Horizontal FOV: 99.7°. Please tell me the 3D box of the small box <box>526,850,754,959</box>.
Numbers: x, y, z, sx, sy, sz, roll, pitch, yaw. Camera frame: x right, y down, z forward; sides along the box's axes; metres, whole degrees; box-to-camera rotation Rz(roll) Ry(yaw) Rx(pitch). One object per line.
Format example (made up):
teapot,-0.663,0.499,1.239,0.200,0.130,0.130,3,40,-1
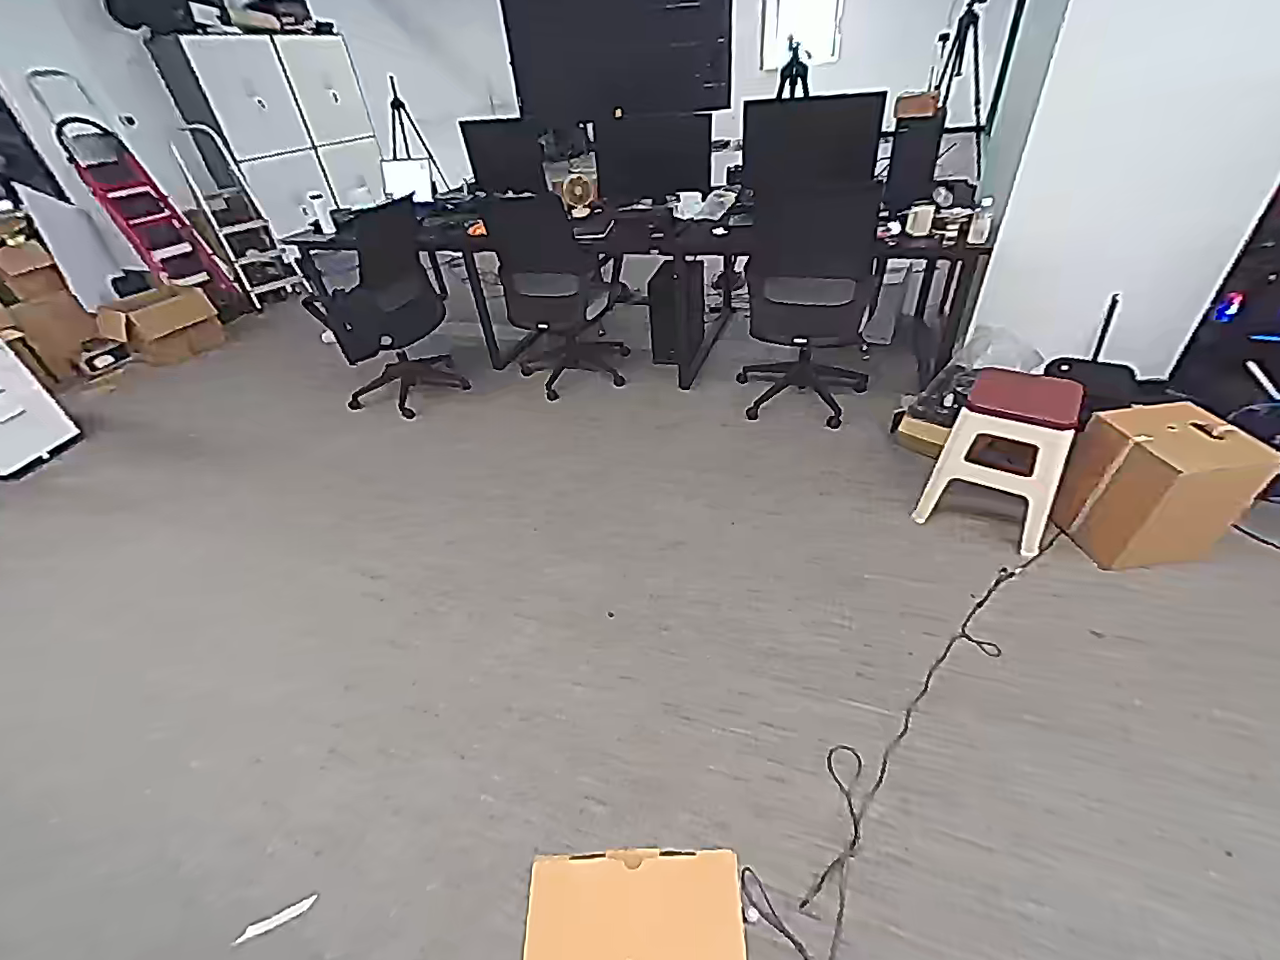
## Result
small box,0.007,0.409,0.424,0.168,0.176,0.179,-4,46,3
